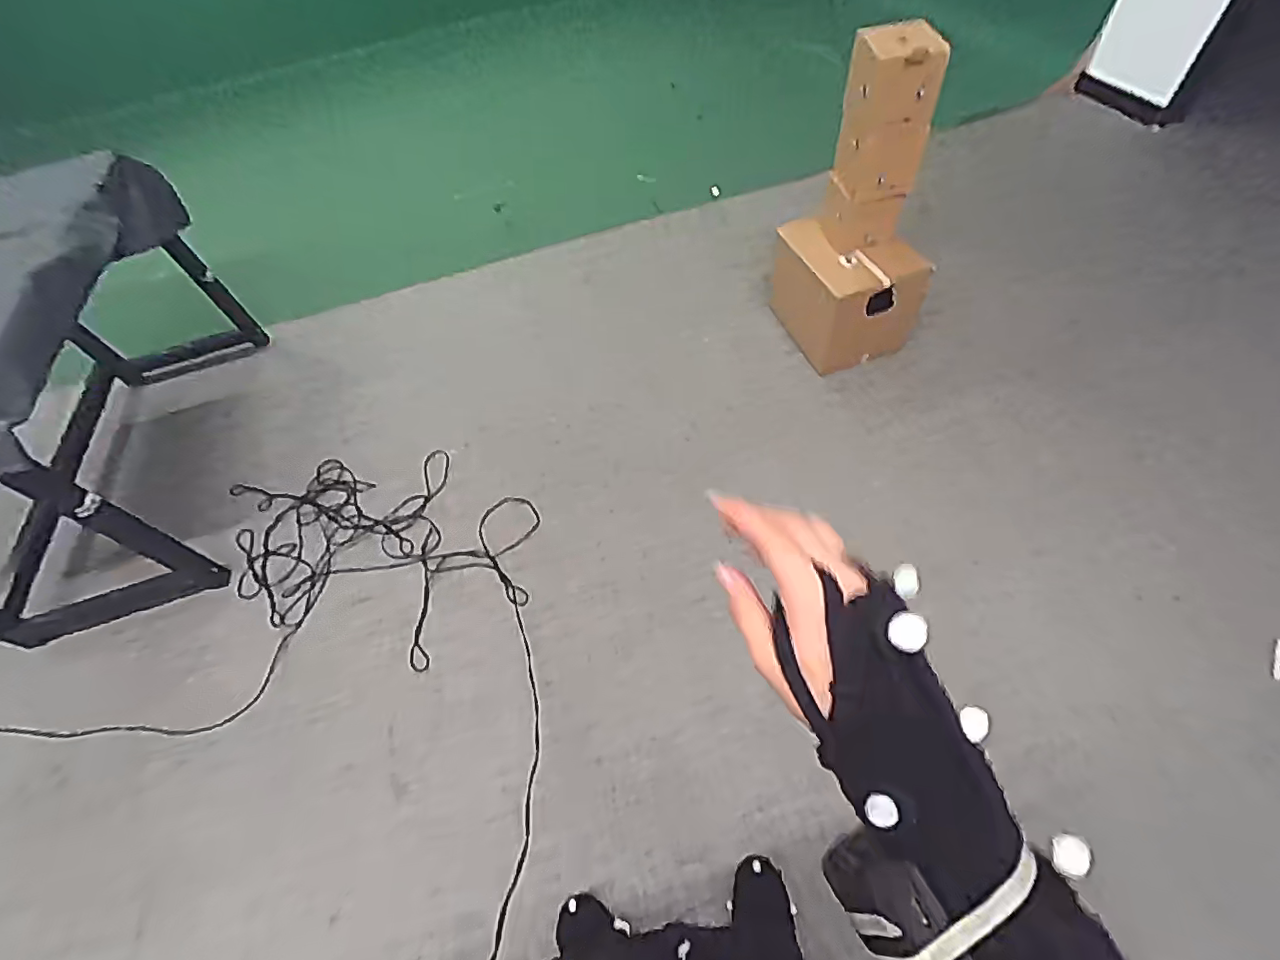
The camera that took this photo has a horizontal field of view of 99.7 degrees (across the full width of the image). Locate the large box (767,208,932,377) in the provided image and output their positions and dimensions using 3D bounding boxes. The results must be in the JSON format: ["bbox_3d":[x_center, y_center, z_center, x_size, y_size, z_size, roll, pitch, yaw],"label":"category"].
[{"bbox_3d":[0.655,-0.618,1.781,0.320,0.320,0.408,-20,56,-4],"label":"large box"}]

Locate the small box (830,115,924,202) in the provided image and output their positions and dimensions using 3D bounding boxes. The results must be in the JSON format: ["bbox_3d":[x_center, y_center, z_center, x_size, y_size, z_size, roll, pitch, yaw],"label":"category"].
[{"bbox_3d":[0.636,-0.892,1.476,0.168,0.176,0.179,-9,56,1],"label":"small box"}]

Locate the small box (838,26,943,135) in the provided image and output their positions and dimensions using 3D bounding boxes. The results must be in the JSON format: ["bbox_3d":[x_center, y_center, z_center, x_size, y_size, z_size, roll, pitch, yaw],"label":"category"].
[{"bbox_3d":[0.611,-0.983,1.343,0.168,0.176,0.179,-8,55,1],"label":"small box"}]
